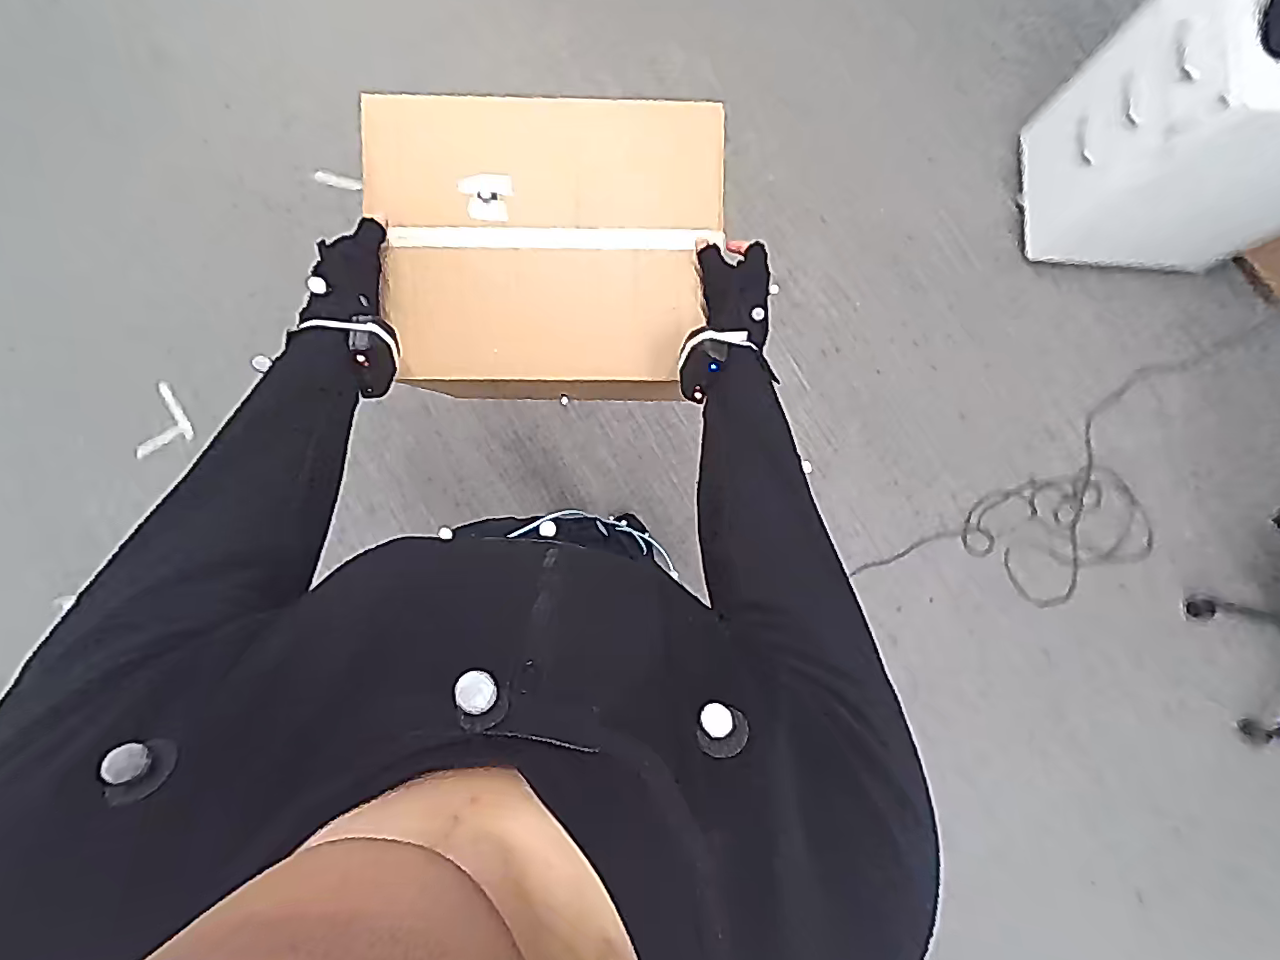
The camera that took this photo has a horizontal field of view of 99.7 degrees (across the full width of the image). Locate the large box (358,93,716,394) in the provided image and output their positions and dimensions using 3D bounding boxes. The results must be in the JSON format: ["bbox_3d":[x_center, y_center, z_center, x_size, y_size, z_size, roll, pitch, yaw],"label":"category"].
[{"bbox_3d":[-0.115,-0.292,0.770,0.408,0.320,0.320,-2,94,-1],"label":"large box"}]
